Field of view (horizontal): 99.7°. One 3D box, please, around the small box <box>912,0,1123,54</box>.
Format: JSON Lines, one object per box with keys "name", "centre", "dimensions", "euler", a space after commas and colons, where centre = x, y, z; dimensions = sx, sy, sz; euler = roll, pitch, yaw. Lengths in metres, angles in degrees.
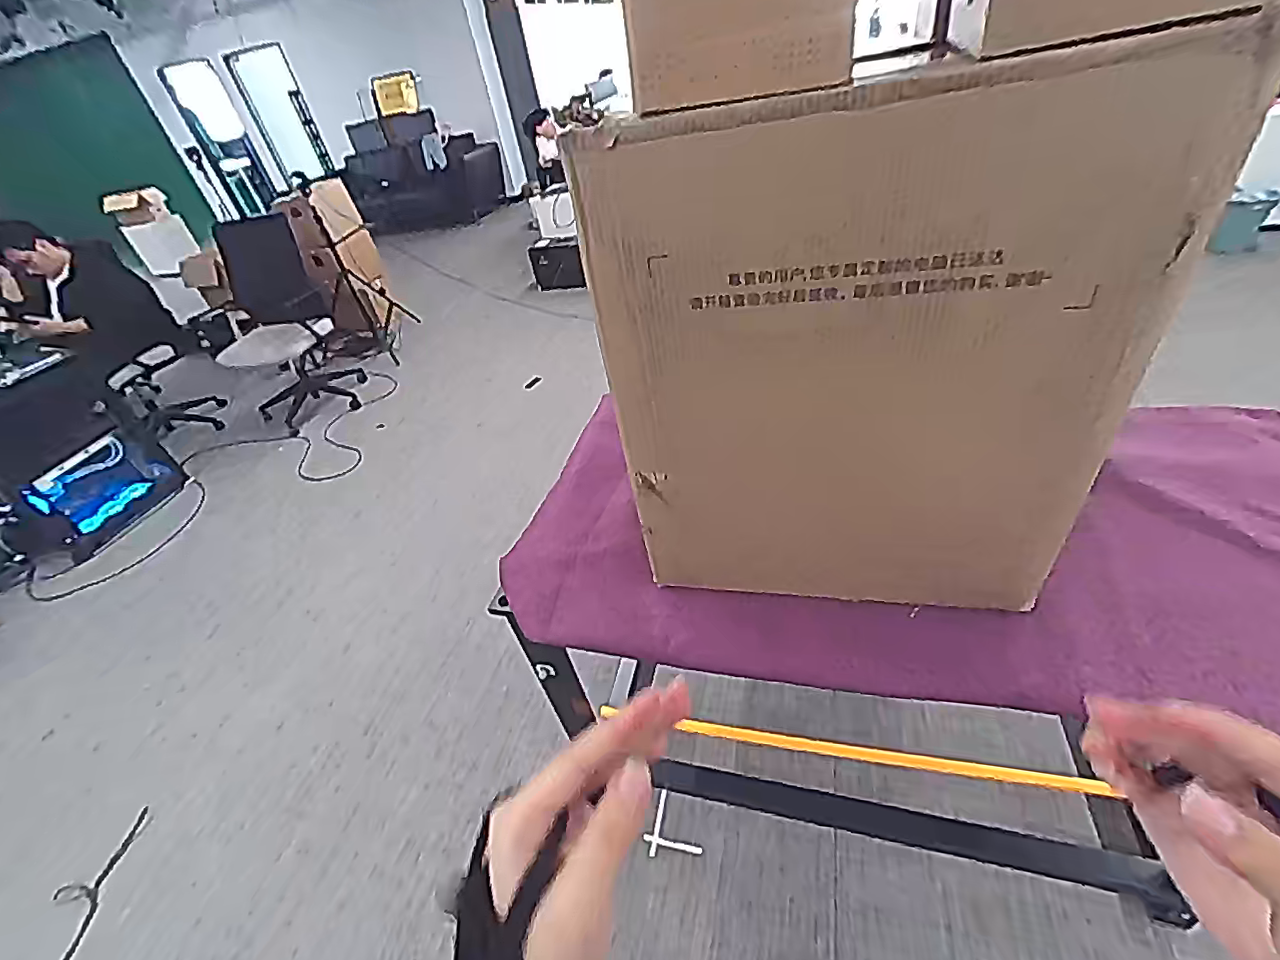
{"name": "small box", "centre": [0.377, -0.544, 0.537], "dimensions": [0.168, 0.176, 0.179], "euler": [2, 41, 18]}
